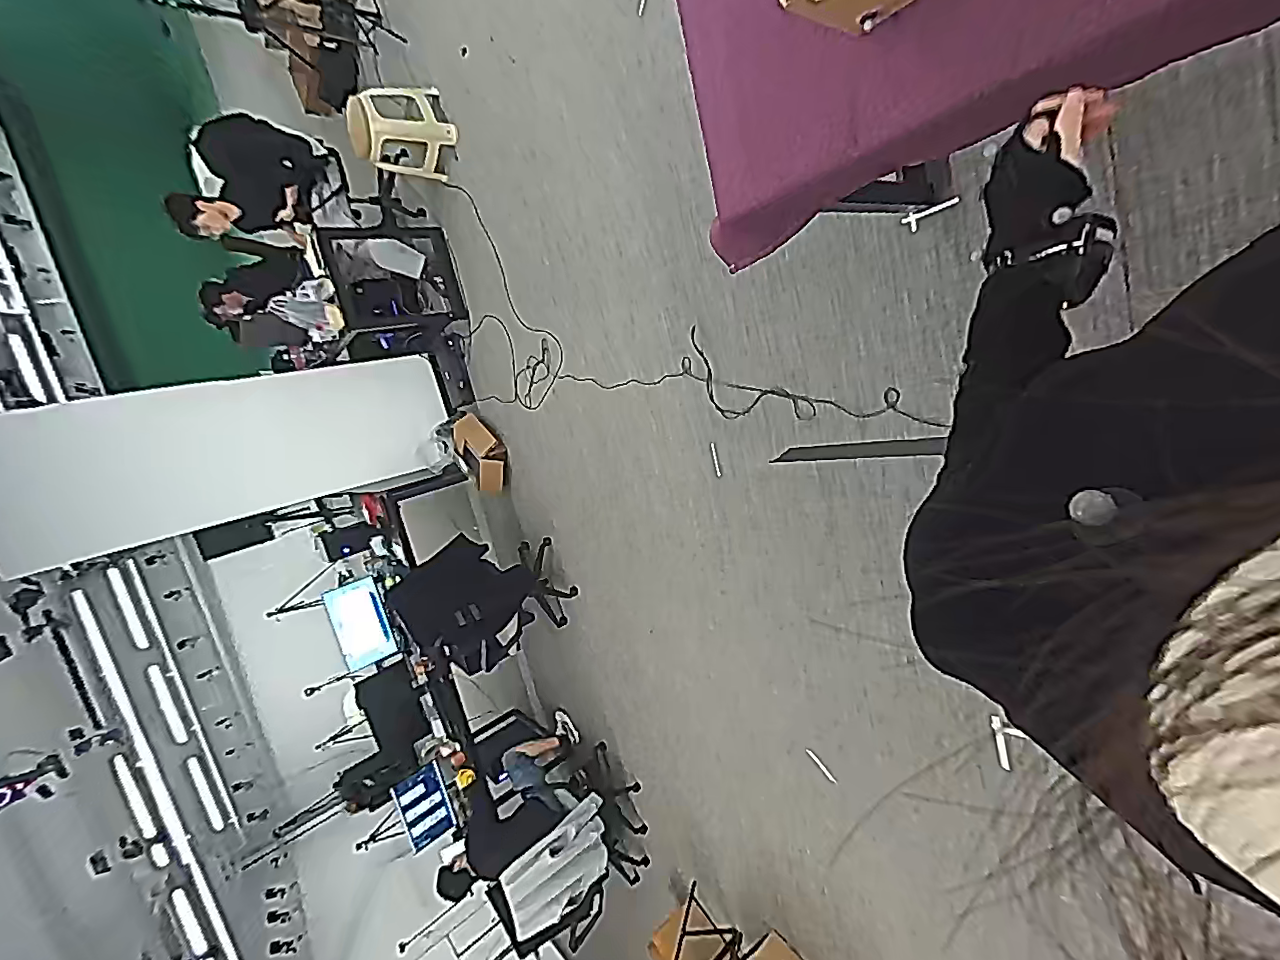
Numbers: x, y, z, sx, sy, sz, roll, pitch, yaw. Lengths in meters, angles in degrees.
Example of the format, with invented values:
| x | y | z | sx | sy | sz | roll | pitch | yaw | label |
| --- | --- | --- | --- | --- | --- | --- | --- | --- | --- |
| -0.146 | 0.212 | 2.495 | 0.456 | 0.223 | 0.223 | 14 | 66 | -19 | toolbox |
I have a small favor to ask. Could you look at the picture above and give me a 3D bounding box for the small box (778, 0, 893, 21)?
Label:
| x | y | z | sx | sy | sz | roll | pitch | yaw | label |
| --- | --- | --- | --- | --- | --- | --- | --- | --- | --- |
| 0.251 | -0.638 | 0.578 | 0.168 | 0.176 | 0.179 | 3 | 108 | 51 | small box |
